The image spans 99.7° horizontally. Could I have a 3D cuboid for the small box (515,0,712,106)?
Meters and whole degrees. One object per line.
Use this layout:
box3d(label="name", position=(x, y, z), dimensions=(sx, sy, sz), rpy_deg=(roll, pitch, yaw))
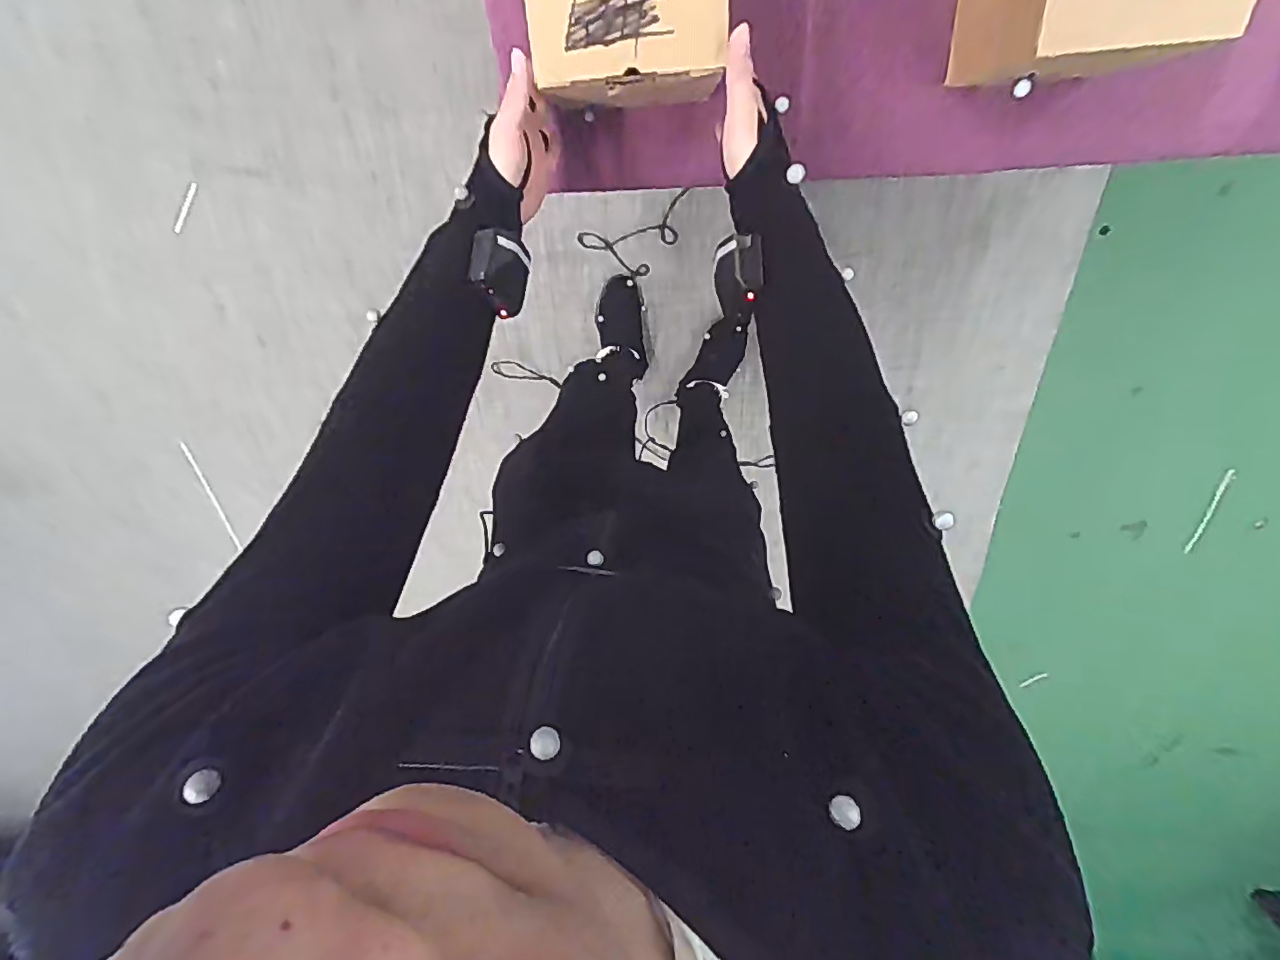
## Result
box3d(label="small box", position=(-0.020, -0.460, 0.498), dimensions=(0.168, 0.176, 0.179), rpy_deg=(-3, 118, 3))

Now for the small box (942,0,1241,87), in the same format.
box3d(label="small box", position=(0.396, -0.471, 0.477), dimensions=(0.168, 0.176, 0.179), rpy_deg=(-2, 119, 4))
